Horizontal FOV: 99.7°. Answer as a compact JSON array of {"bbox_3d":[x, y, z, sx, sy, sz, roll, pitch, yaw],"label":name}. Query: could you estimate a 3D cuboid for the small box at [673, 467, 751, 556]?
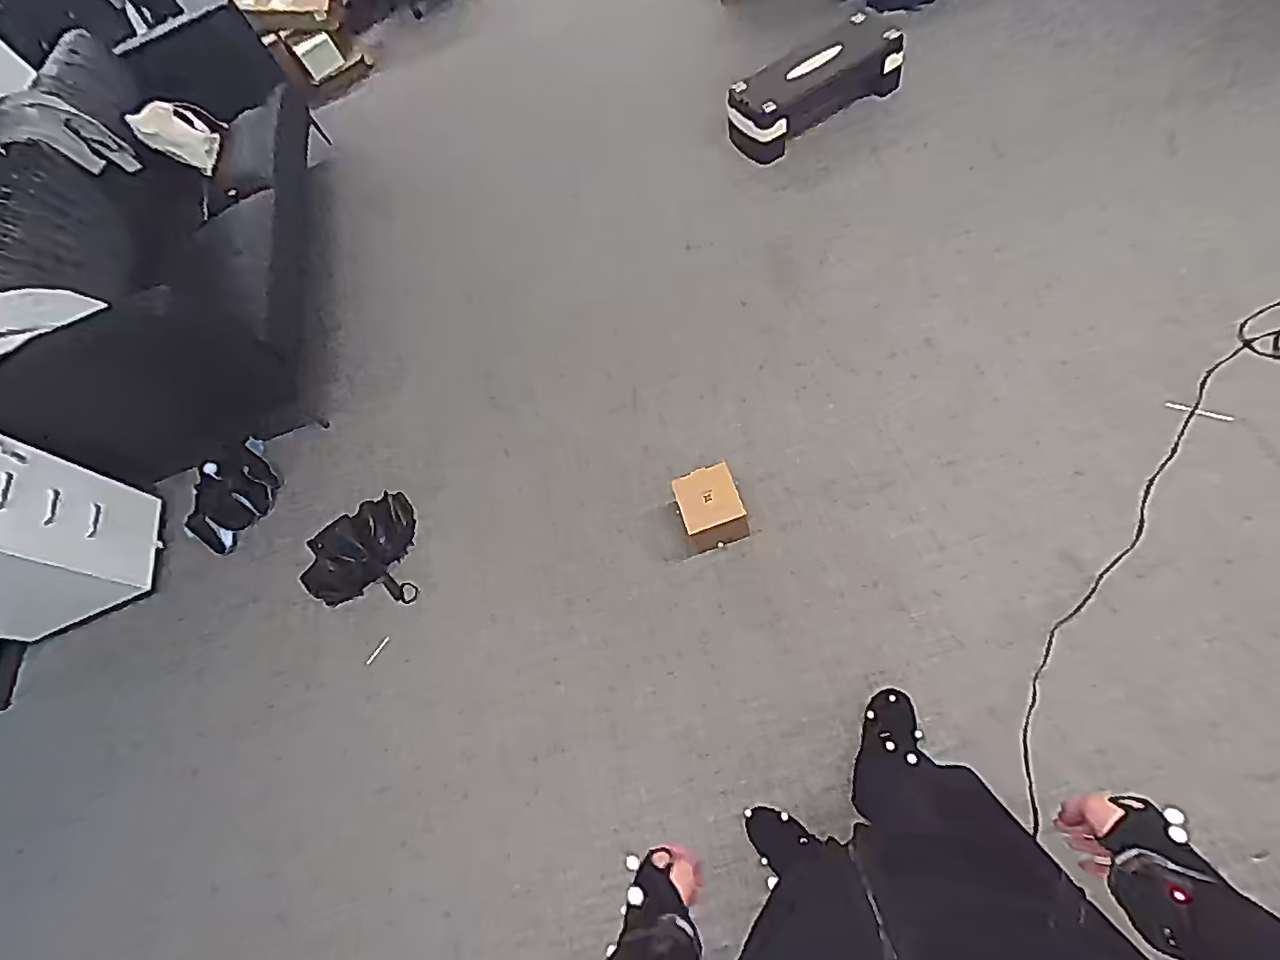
[{"bbox_3d":[0.209,0.094,1.549,0.168,0.176,0.179,-21,62,6],"label":"small box"}]
